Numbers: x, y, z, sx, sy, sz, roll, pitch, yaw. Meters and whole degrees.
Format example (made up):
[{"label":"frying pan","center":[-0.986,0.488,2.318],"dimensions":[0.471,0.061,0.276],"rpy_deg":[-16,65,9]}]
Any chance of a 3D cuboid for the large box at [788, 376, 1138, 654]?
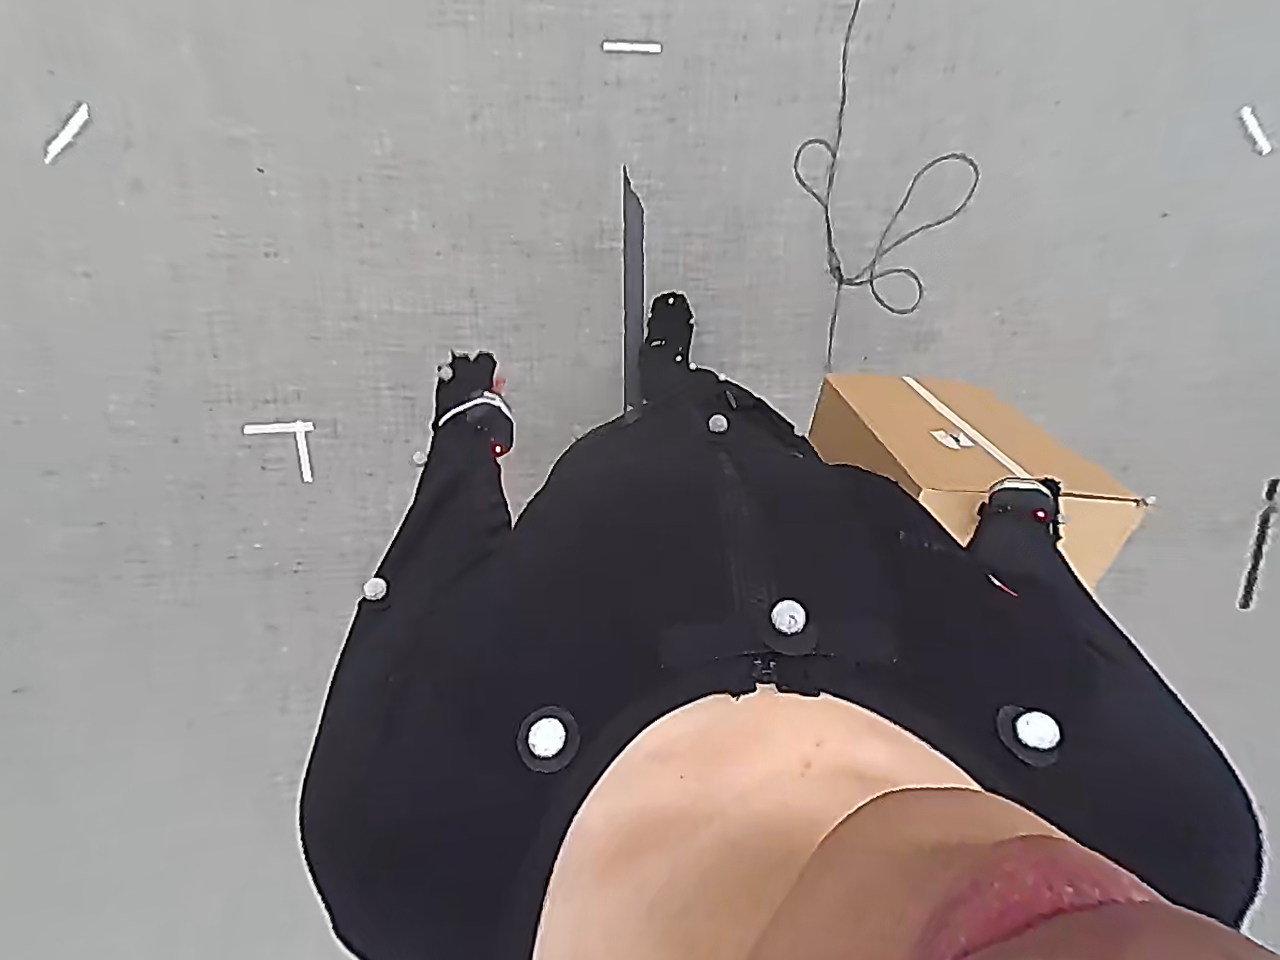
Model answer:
[{"label":"large box","center":[0.495,0.044,0.955],"dimensions":[0.320,0.408,0.320],"rpy_deg":[3,123,-4]}]
